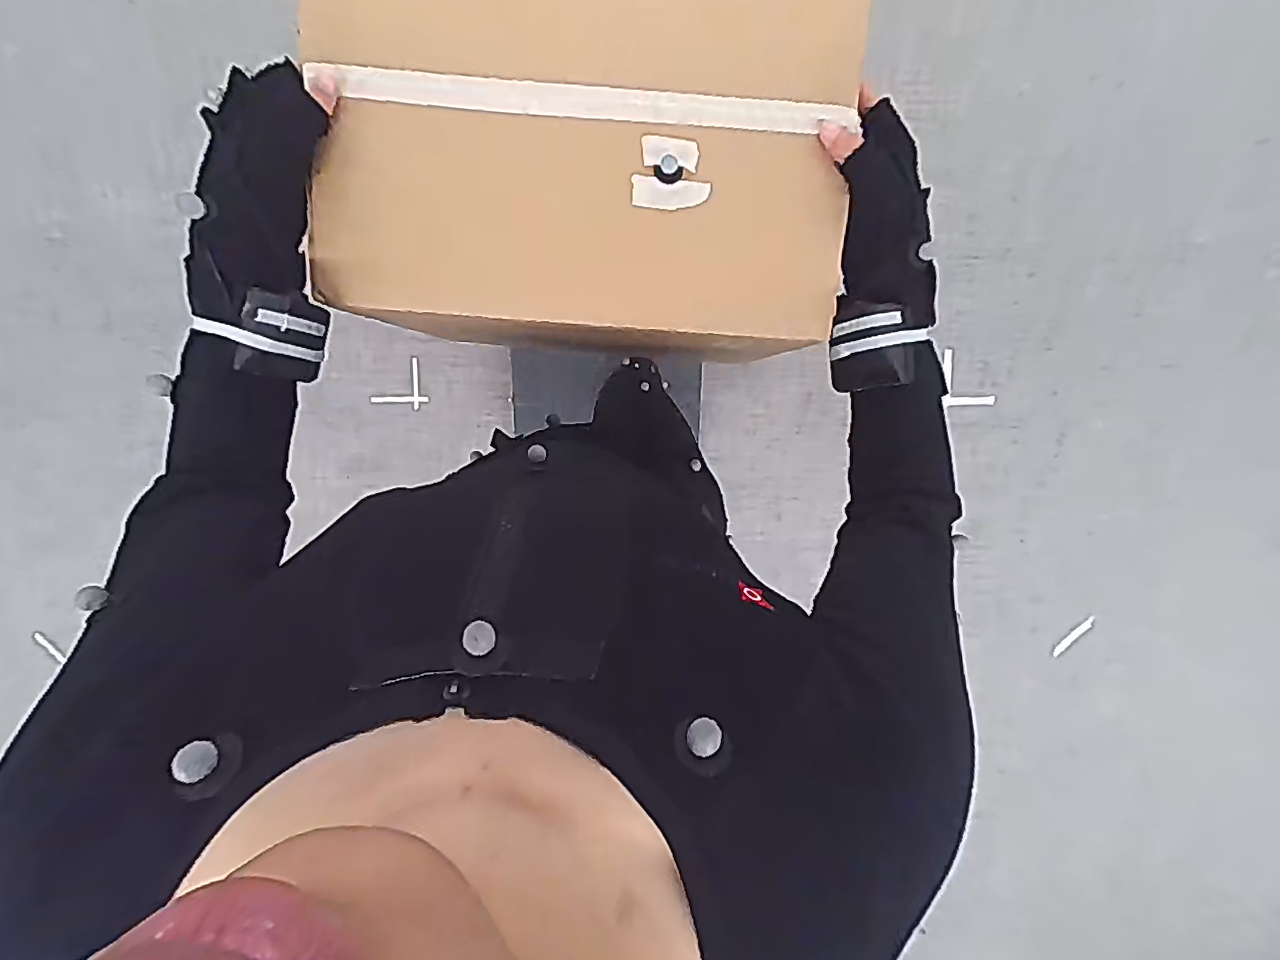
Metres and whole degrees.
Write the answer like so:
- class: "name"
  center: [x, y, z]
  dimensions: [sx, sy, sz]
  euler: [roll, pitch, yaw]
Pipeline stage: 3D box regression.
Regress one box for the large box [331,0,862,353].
- class: "large box"
  center: [-0.039, -0.311, 0.560]
  dimensions: [0.408, 0.320, 0.320]
  euler: [4, 99, -2]
